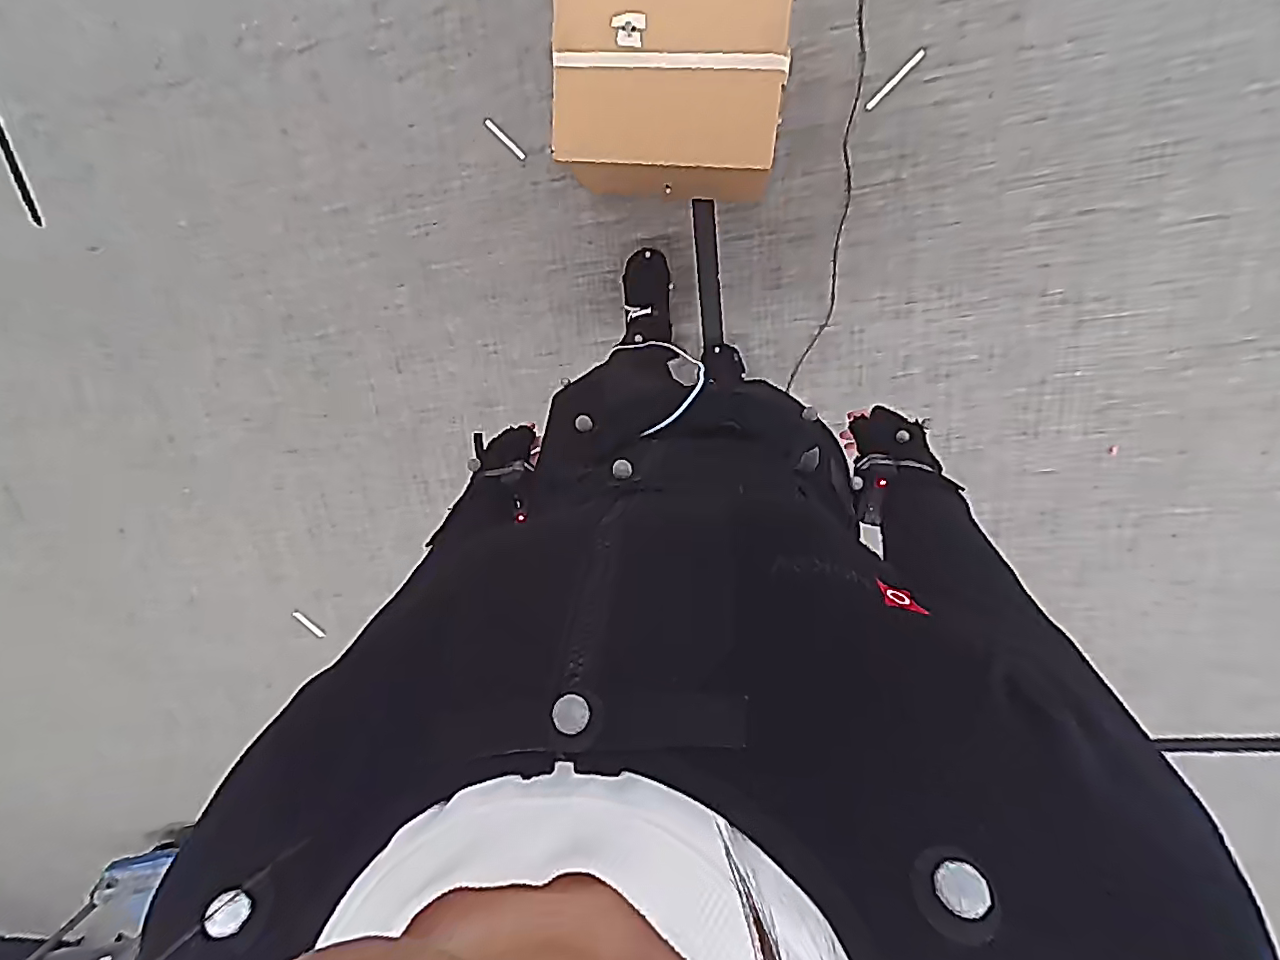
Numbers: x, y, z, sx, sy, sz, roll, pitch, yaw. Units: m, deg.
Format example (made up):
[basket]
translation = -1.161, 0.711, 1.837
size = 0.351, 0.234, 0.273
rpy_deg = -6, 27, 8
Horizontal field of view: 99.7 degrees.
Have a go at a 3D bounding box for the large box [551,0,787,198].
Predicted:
[large box]
translation = 0.065, -0.757, 1.069
size = 0.408, 0.320, 0.320
rpy_deg = 7, 108, 8
